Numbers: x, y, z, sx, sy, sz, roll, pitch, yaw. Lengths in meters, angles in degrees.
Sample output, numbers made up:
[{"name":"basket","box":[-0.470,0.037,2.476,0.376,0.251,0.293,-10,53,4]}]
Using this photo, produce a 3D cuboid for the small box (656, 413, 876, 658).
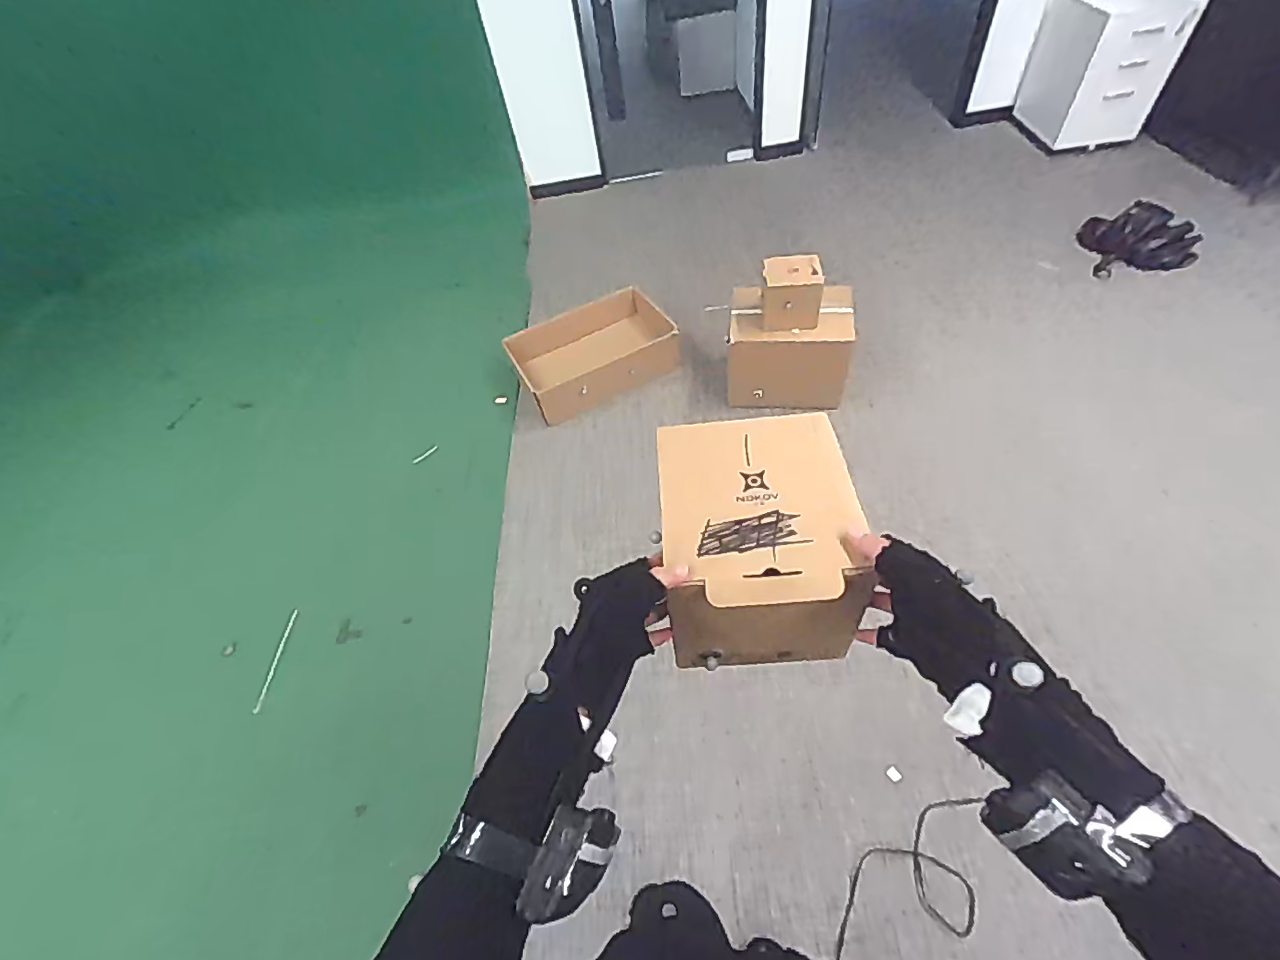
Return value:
[{"name":"small box","box":[0.107,0.061,0.524,0.168,0.176,0.179,-5,48,4]}]

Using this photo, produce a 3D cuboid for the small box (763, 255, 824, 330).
[{"name":"small box","box":[0.496,-0.610,1.772,0.179,0.176,0.168,-2,52,9]}]
